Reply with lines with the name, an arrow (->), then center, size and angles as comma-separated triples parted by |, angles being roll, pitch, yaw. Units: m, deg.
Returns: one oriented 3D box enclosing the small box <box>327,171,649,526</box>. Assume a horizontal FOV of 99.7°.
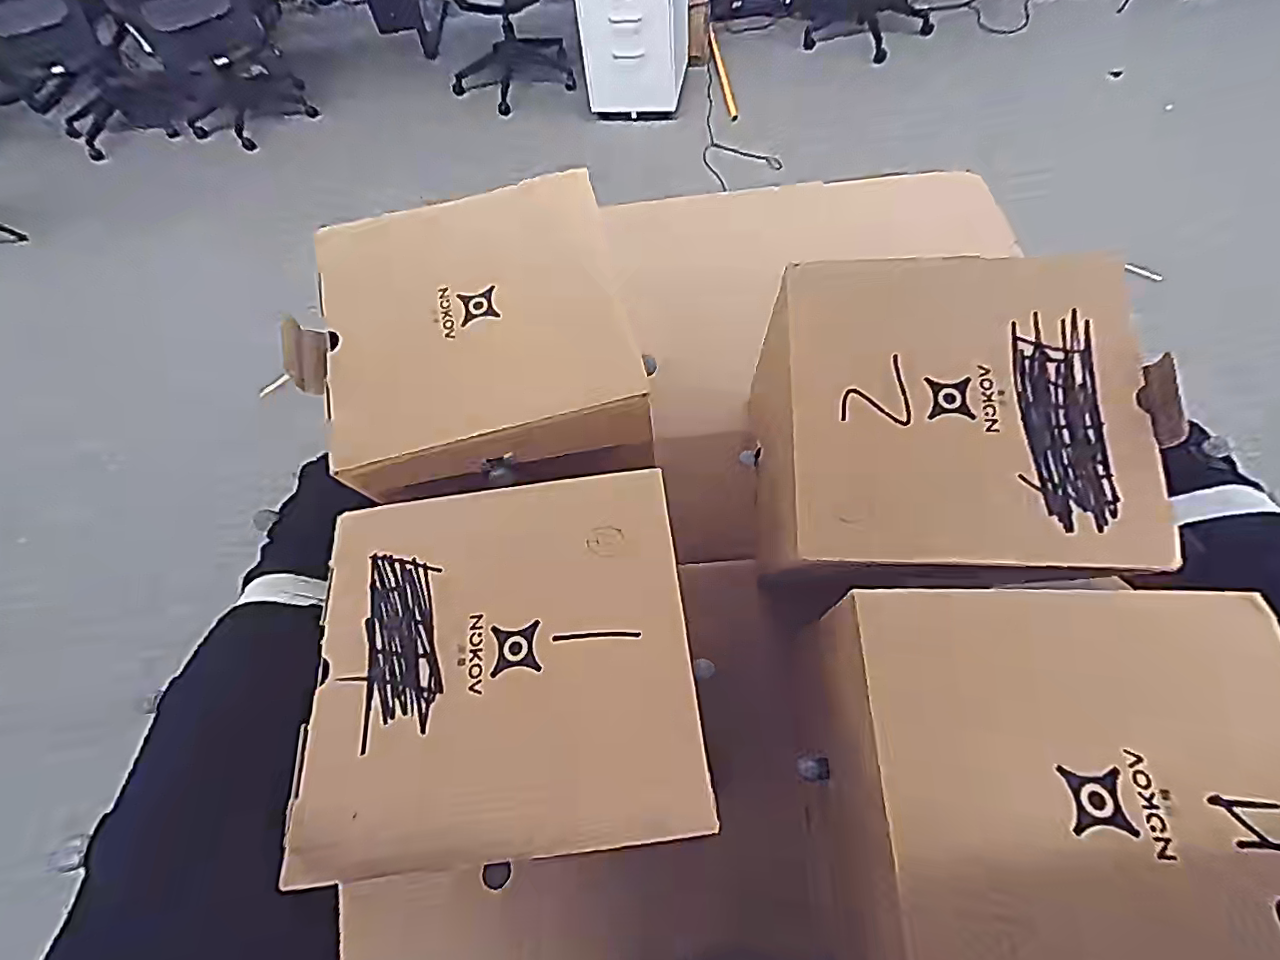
small box -> -0.093, -0.079, 0.398 | 0.179, 0.176, 0.168 | -15, 70, 0
